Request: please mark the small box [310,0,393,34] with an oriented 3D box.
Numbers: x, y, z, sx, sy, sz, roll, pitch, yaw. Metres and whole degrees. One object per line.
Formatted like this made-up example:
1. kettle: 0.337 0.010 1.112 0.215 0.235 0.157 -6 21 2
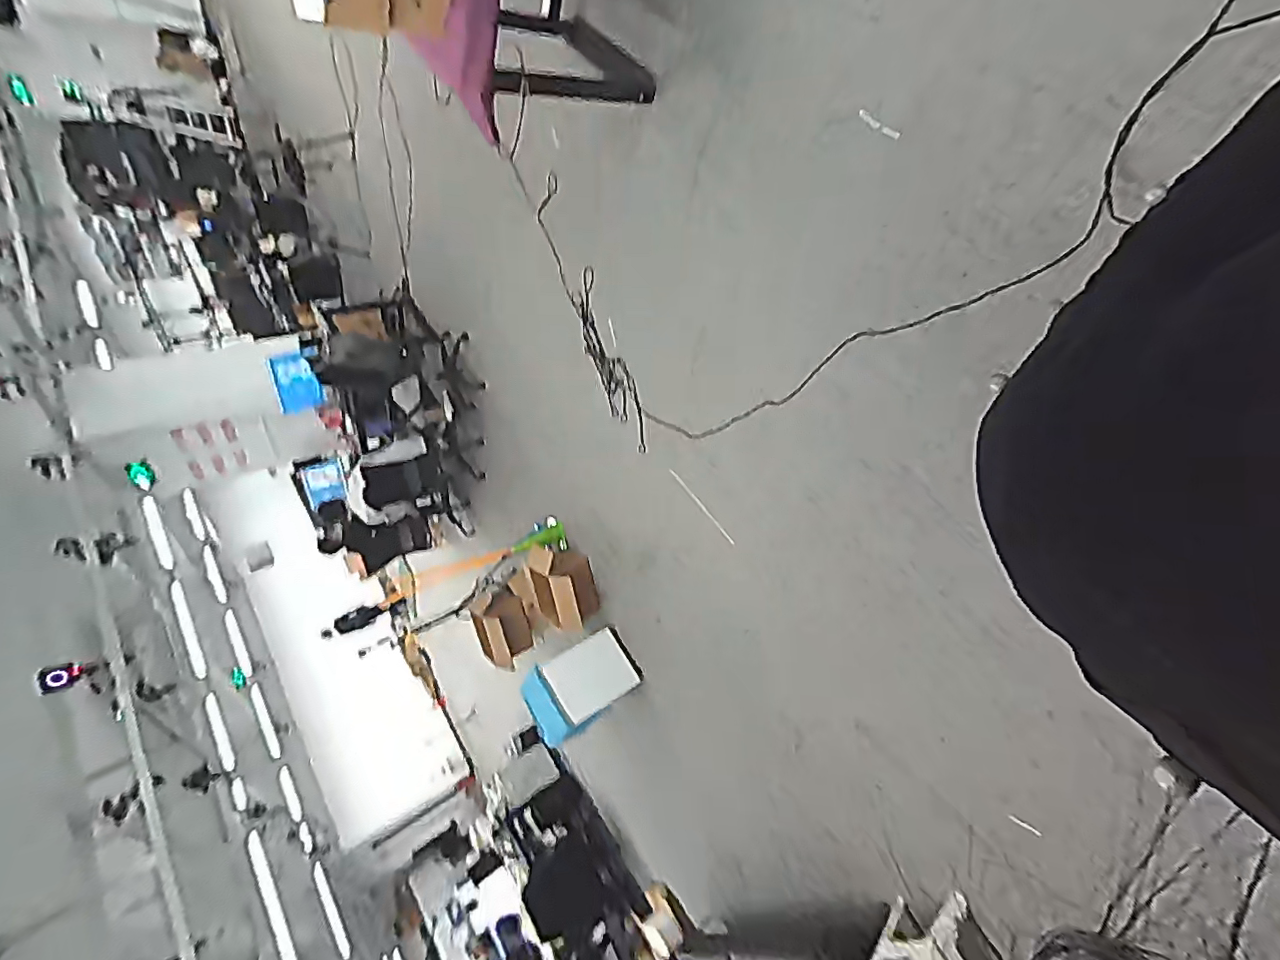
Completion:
1. small box: -0.714 -1.238 1.315 0.168 0.176 0.179 60 147 11
